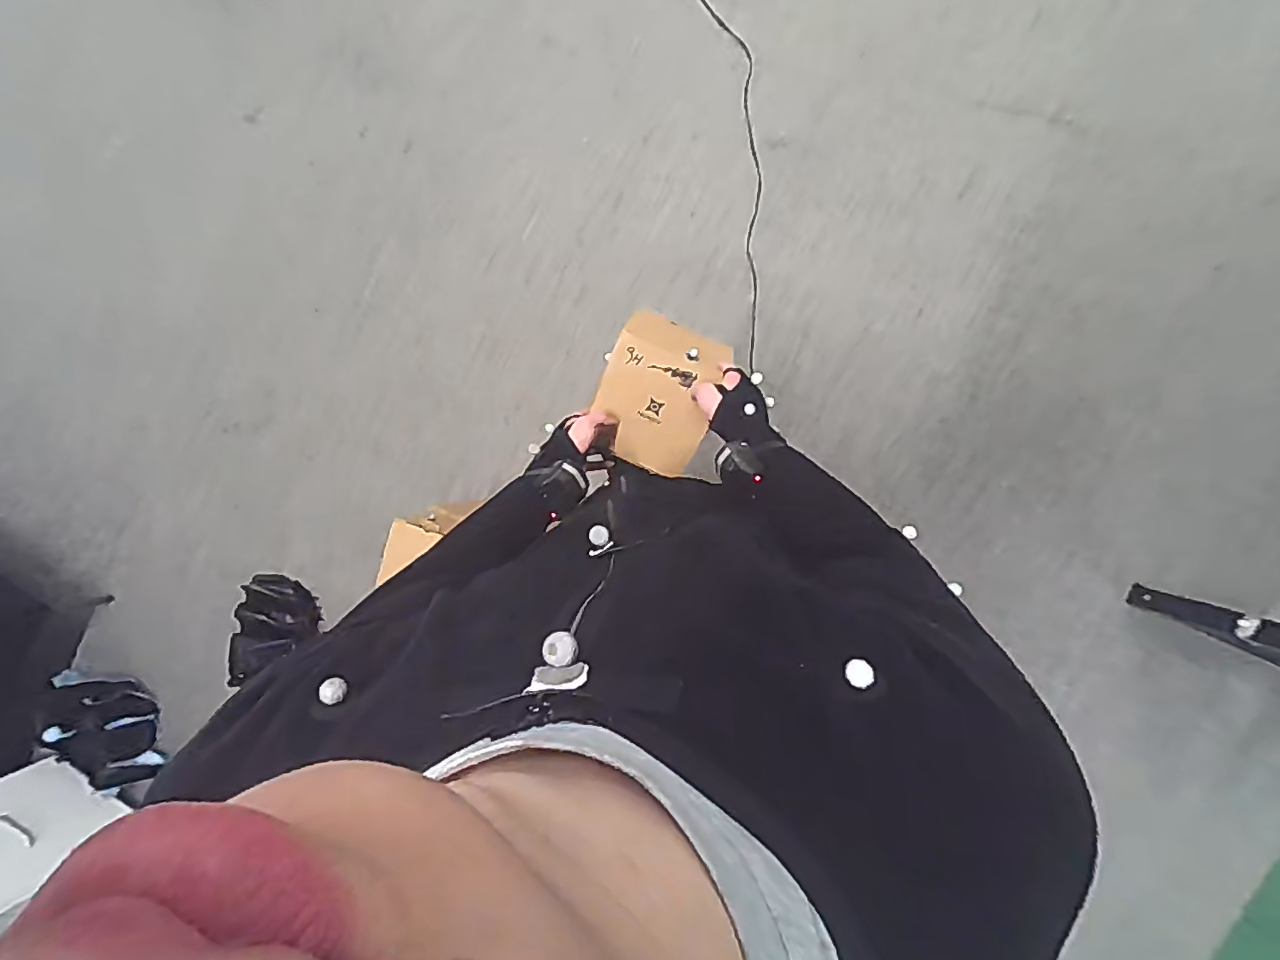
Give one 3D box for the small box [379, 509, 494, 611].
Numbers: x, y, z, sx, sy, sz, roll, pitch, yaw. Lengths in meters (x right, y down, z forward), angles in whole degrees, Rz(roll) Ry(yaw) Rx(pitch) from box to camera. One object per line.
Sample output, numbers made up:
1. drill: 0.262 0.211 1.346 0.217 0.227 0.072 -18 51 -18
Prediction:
1. small box: -0.455 0.172 1.237 0.168 0.176 0.179 17 95 10
